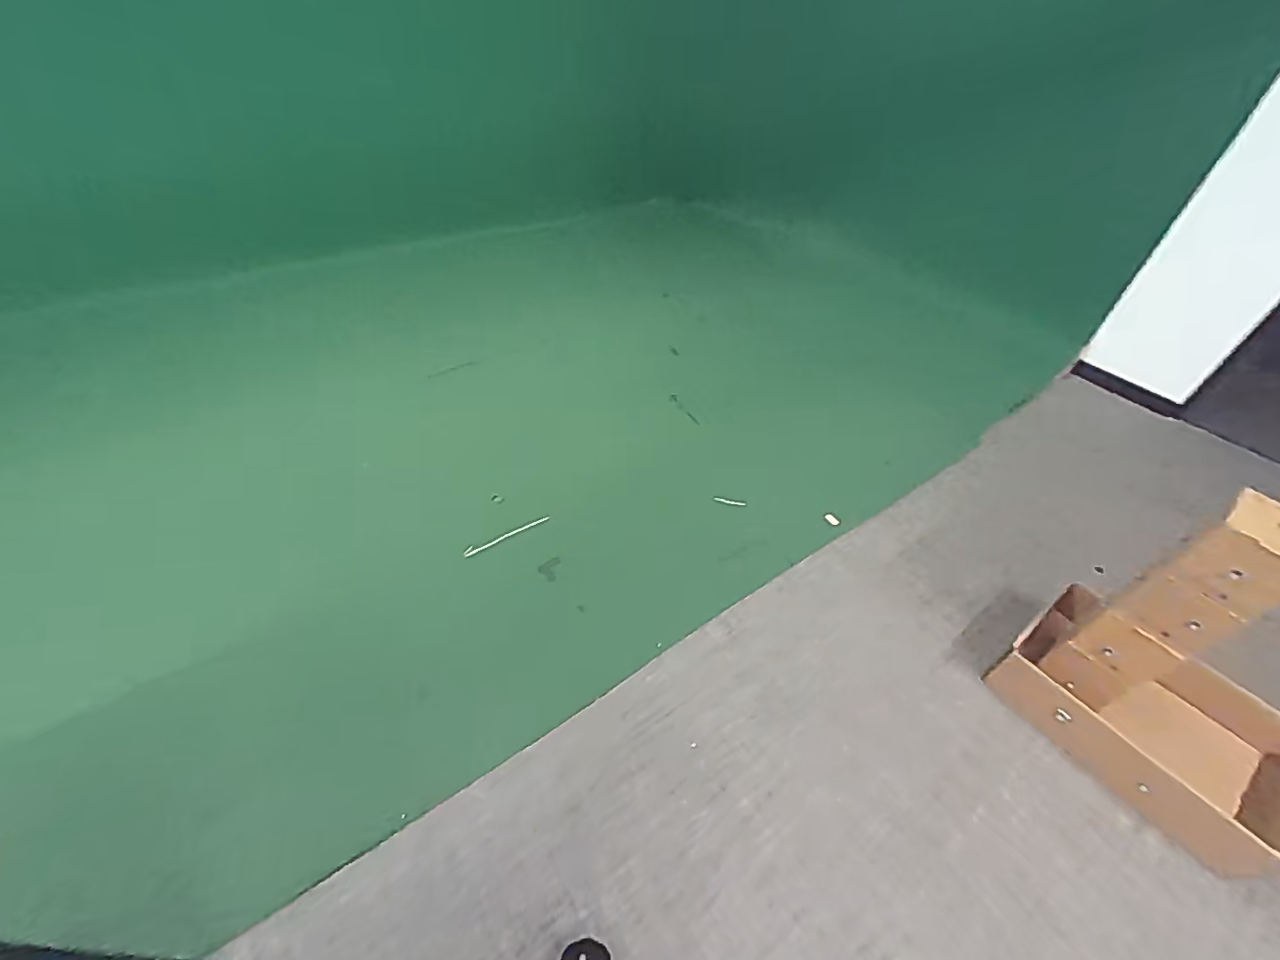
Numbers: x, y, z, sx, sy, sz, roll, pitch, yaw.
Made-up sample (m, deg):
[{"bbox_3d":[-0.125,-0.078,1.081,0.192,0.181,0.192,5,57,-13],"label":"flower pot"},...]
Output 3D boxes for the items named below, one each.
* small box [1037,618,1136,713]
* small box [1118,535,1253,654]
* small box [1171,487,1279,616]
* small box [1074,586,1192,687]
[{"bbox_3d":[1.243,0.499,1.481,0.179,0.176,0.168,-25,53,-27],"label":"small box"},{"bbox_3d":[1.270,0.267,1.253,0.179,0.176,0.168,-28,55,-28],"label":"small box"},{"bbox_3d":[1.286,0.153,1.136,0.179,0.176,0.168,-28,56,-28],"label":"small box"},{"bbox_3d":[1.256,0.384,1.366,0.179,0.176,0.168,-27,54,-27],"label":"small box"}]
